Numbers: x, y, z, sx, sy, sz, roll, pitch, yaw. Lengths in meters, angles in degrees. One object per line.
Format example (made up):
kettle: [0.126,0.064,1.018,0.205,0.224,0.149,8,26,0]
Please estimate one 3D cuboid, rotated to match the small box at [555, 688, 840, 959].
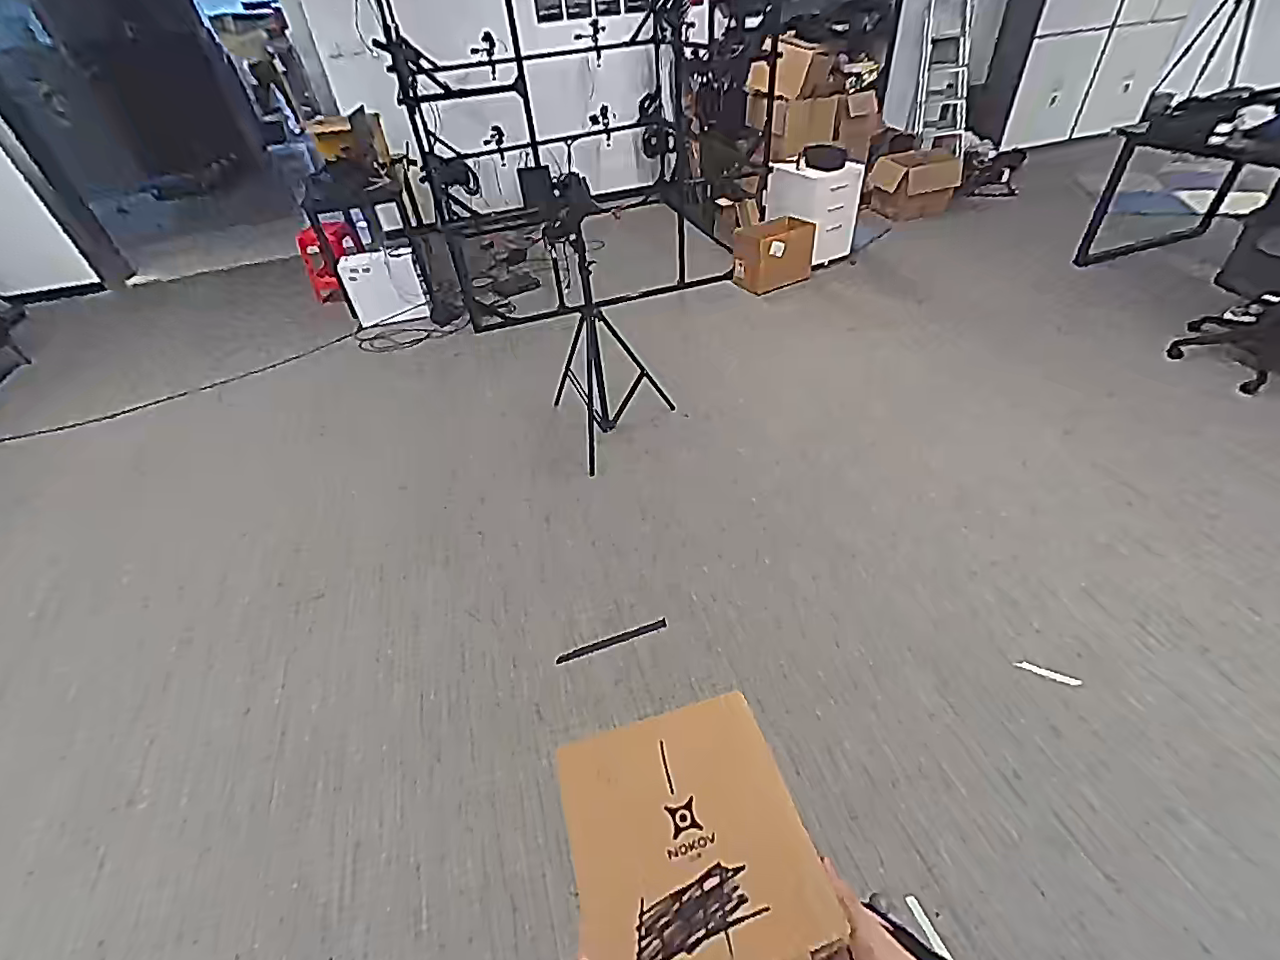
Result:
small box: [0.037,0.311,0.448,0.168,0.176,0.179,-14,43,-9]
